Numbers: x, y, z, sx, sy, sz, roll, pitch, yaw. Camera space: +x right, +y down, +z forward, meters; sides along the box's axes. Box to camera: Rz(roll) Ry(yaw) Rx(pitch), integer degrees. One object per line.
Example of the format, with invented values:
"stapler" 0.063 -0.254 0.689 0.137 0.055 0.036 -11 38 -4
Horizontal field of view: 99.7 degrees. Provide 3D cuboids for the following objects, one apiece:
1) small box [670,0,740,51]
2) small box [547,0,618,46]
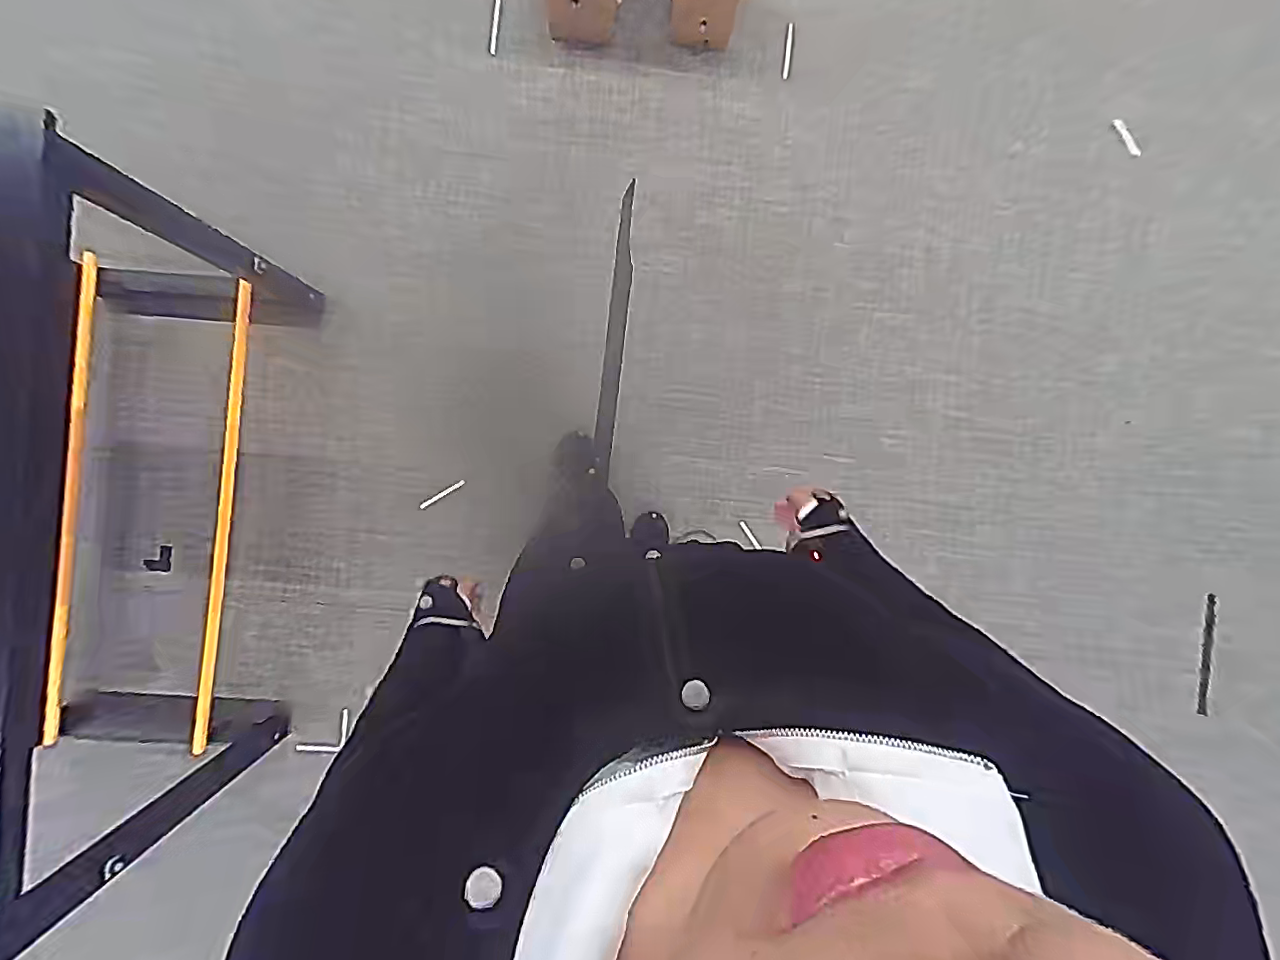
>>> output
"small box" 0.172 -1.270 1.407 0.168 0.176 0.179 5 91 -3
"small box" -0.148 -1.264 1.388 0.179 0.176 0.168 4 91 -4
